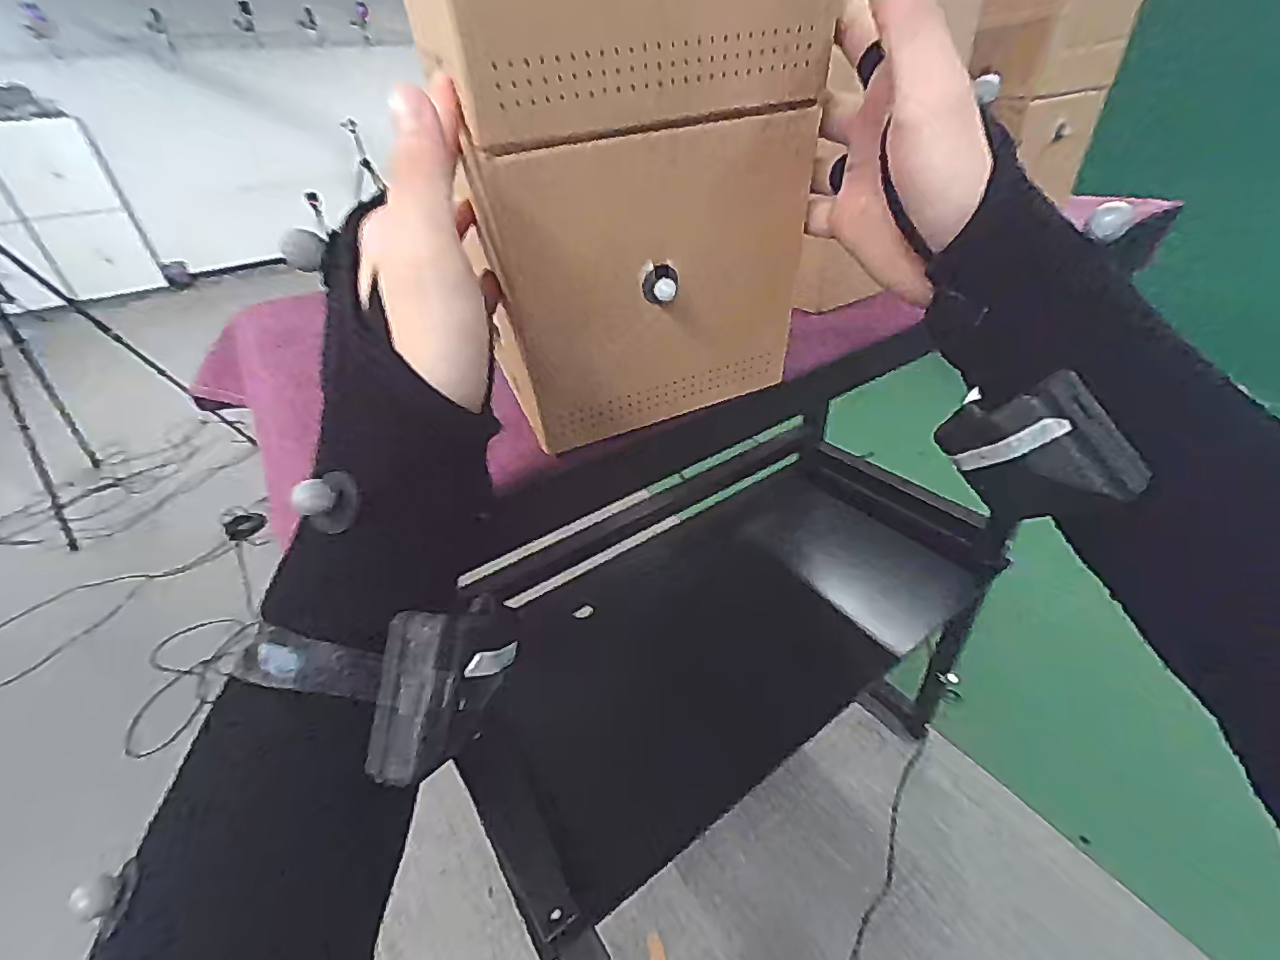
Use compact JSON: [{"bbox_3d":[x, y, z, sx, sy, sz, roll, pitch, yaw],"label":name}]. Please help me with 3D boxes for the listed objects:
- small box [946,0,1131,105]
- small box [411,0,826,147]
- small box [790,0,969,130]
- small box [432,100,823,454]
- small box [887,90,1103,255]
[{"bbox_3d":[0.451,-0.548,0.640,0.179,0.176,0.168,-22,41,-23],"label":"small box"},{"bbox_3d":[-0.021,-0.265,0.243,0.179,0.176,0.168,-17,45,-14],"label":"small box"},{"bbox_3d":[0.187,-0.432,0.505,0.179,0.176,0.168,-24,39,-24],"label":"small box"},{"bbox_3d":[-0.015,-0.145,0.355,0.179,0.176,0.168,-19,45,-15],"label":"small box"},{"bbox_3d":[0.463,-0.418,0.735,0.179,0.176,0.168,-23,41,-24],"label":"small box"}]
